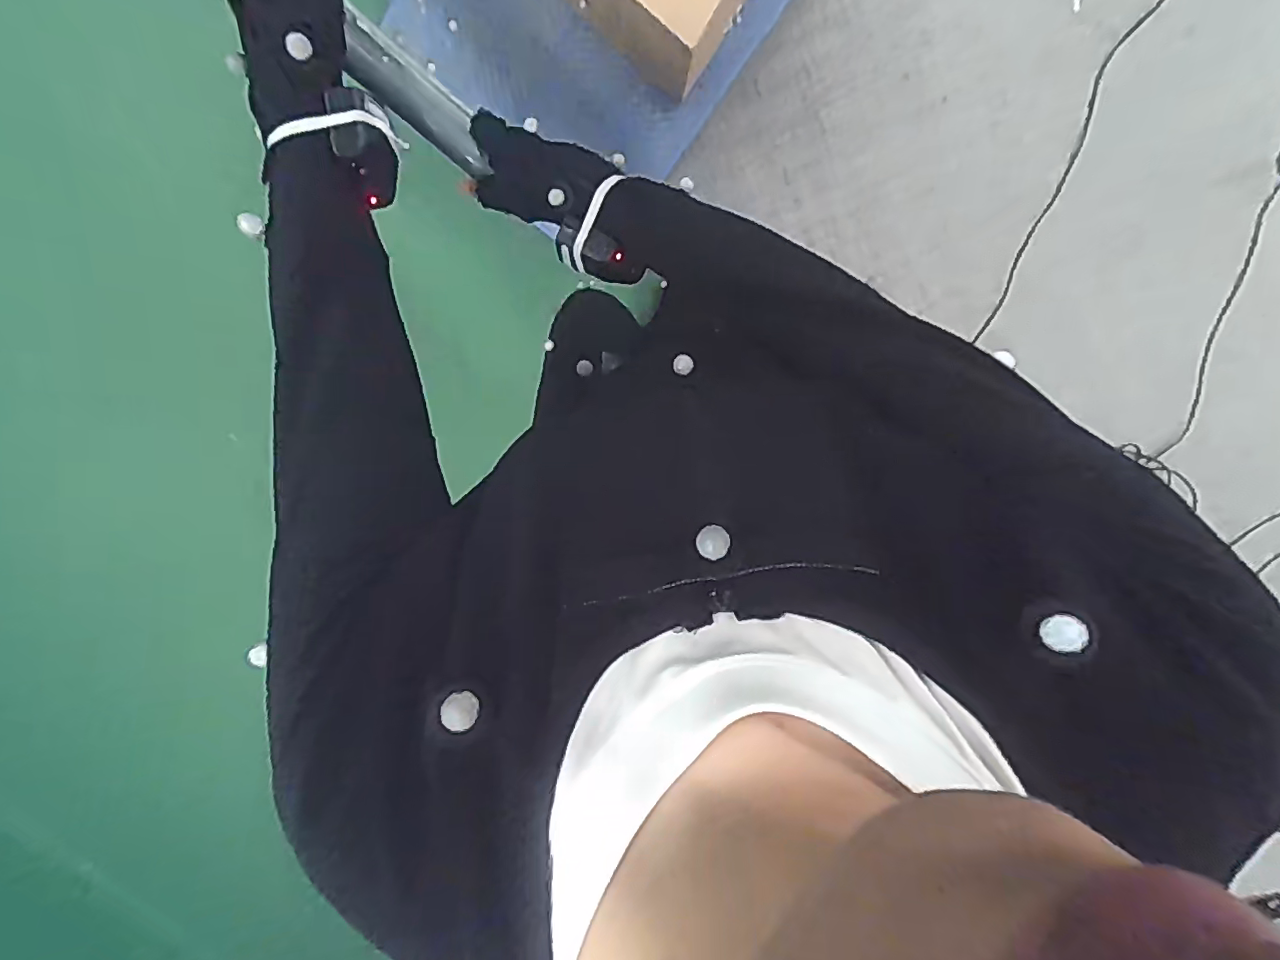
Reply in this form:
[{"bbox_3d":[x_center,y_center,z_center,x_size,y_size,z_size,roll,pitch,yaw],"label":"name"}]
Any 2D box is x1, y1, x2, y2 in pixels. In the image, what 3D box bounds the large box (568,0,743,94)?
[{"bbox_3d":[0.005,-0.896,0.818,0.408,0.320,0.320,34,109,-12],"label":"large box"}]
